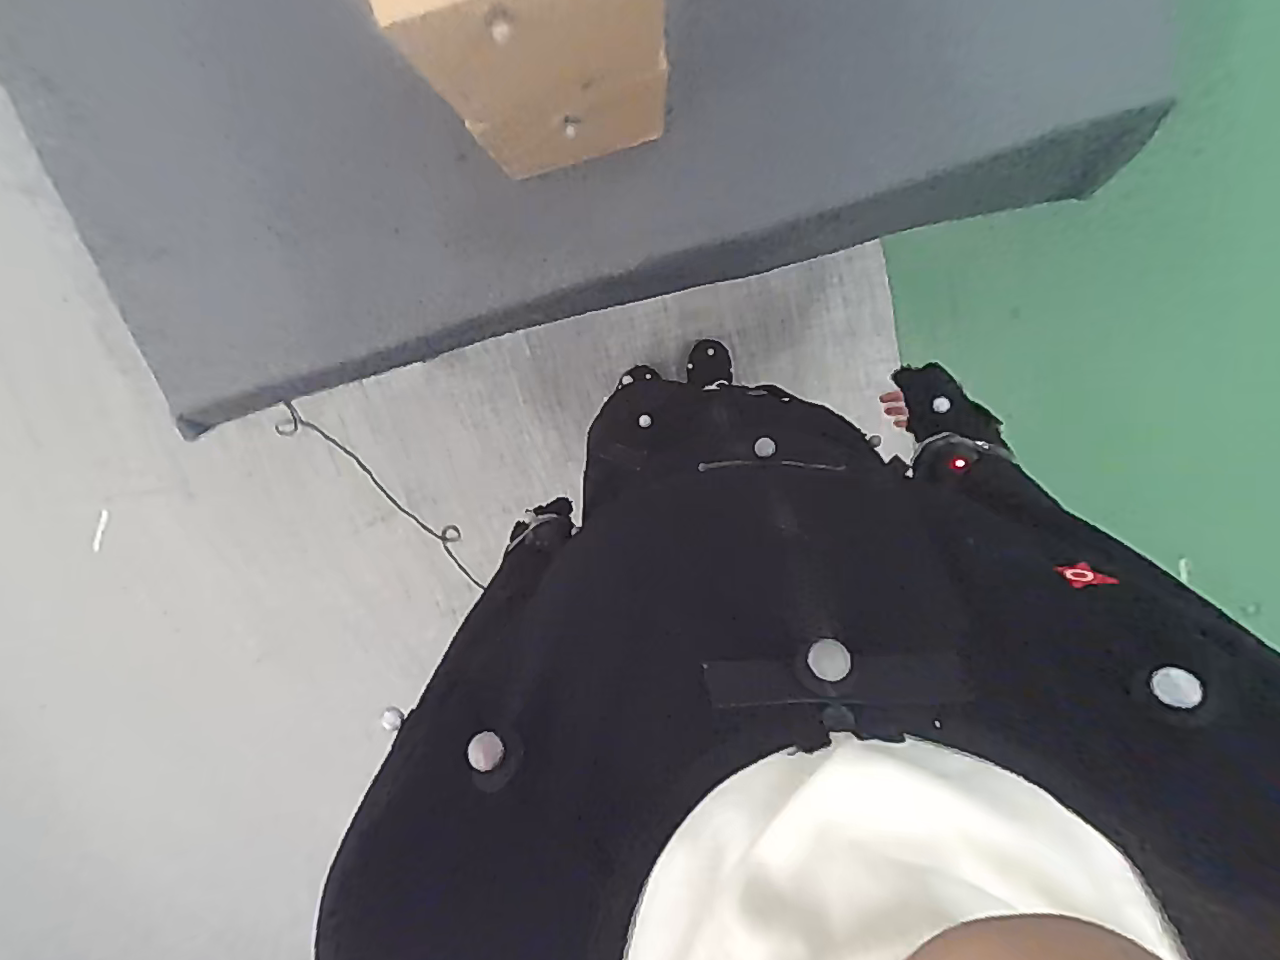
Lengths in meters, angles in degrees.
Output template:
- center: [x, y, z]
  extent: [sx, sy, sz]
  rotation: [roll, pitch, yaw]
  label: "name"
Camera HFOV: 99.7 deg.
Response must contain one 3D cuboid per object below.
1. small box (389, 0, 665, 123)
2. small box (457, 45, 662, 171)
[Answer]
- center: [-0.083, -0.380, 0.357]
  extent: [0.168, 0.176, 0.179]
  rotation: [-16, 106, 5]
  label: "small box"
- center: [-0.081, -0.421, 0.513]
  extent: [0.179, 0.176, 0.168]
  rotation: [-14, 105, 4]
  label: "small box"
